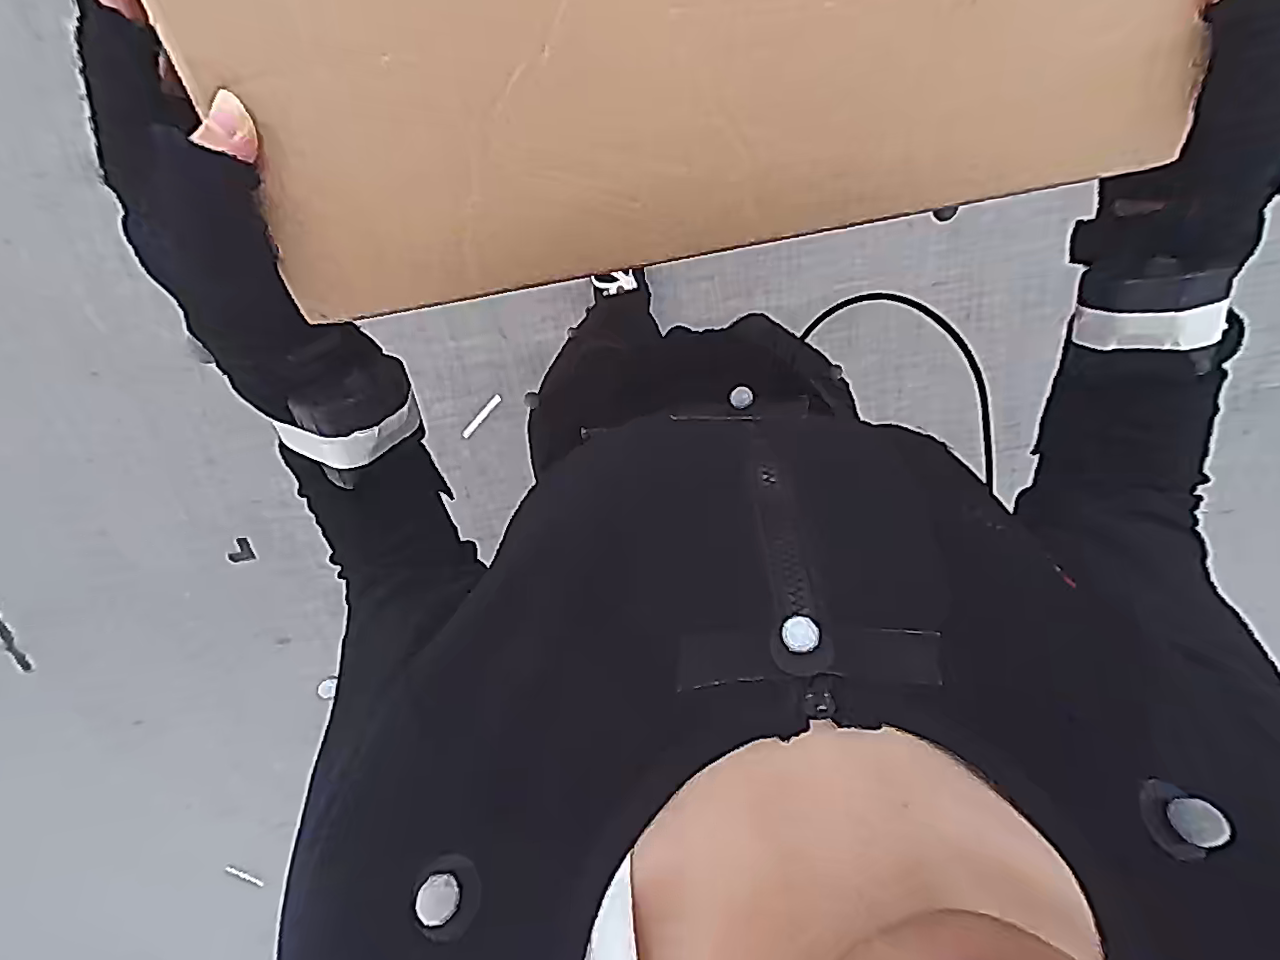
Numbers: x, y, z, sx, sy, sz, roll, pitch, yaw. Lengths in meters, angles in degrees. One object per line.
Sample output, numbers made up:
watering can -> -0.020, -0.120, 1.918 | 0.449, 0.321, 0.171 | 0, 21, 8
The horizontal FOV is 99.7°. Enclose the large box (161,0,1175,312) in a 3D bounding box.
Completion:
large box -> 0.002, -0.324, 0.301 | 0.408, 0.320, 0.320 | -10, 121, 1
